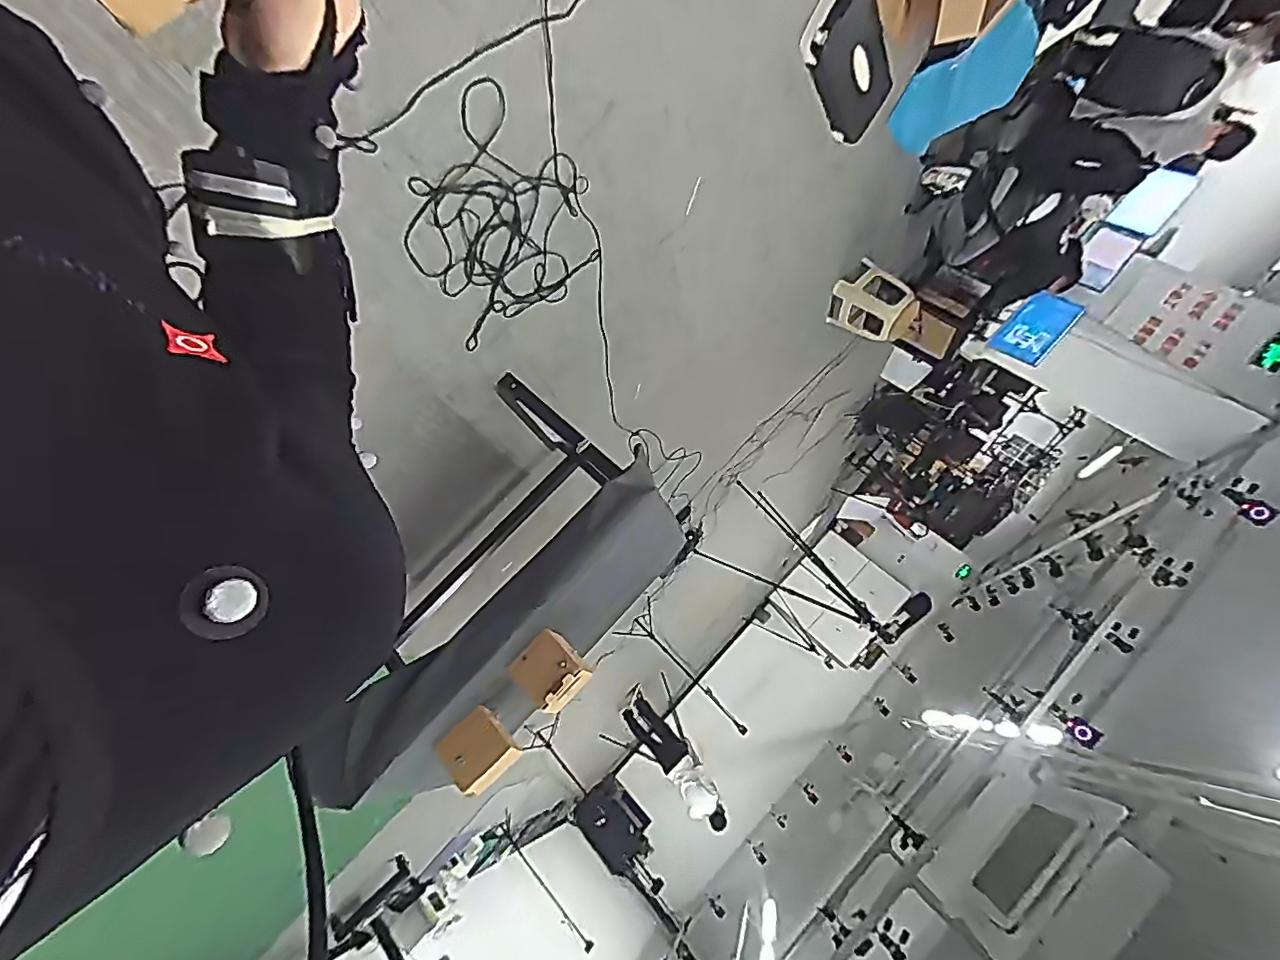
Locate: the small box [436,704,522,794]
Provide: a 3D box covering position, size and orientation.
[{"bbox_3d":[-0.495,0.819,1.647,0.179,0.176,0.168,-41,156,-20],"label":"small box"}]
